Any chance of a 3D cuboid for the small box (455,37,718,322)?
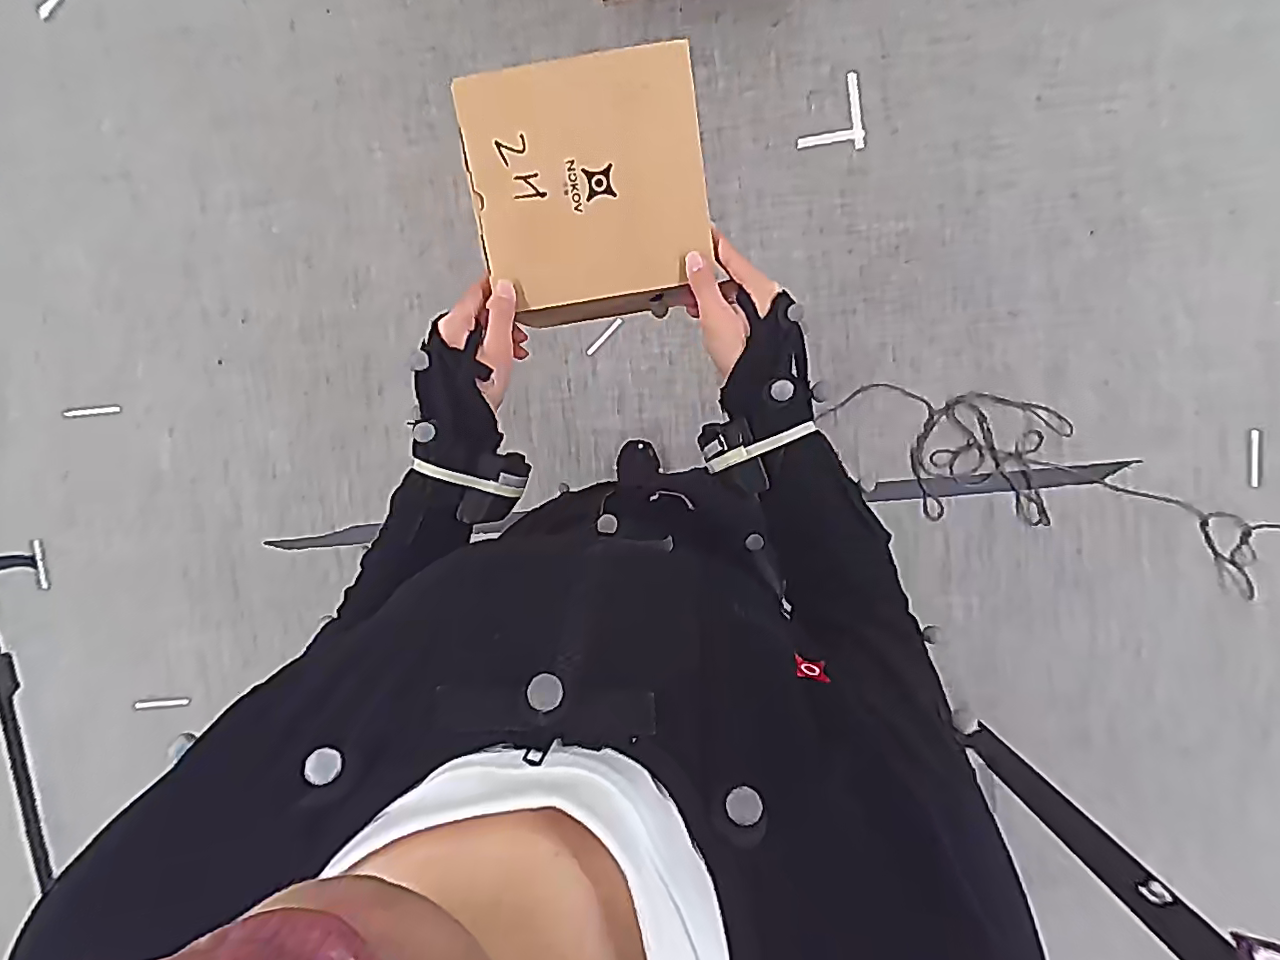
[{"bbox_3d":[-0.038,-0.239,0.477,0.179,0.176,0.168,-8,102,2],"label":"small box"}]
